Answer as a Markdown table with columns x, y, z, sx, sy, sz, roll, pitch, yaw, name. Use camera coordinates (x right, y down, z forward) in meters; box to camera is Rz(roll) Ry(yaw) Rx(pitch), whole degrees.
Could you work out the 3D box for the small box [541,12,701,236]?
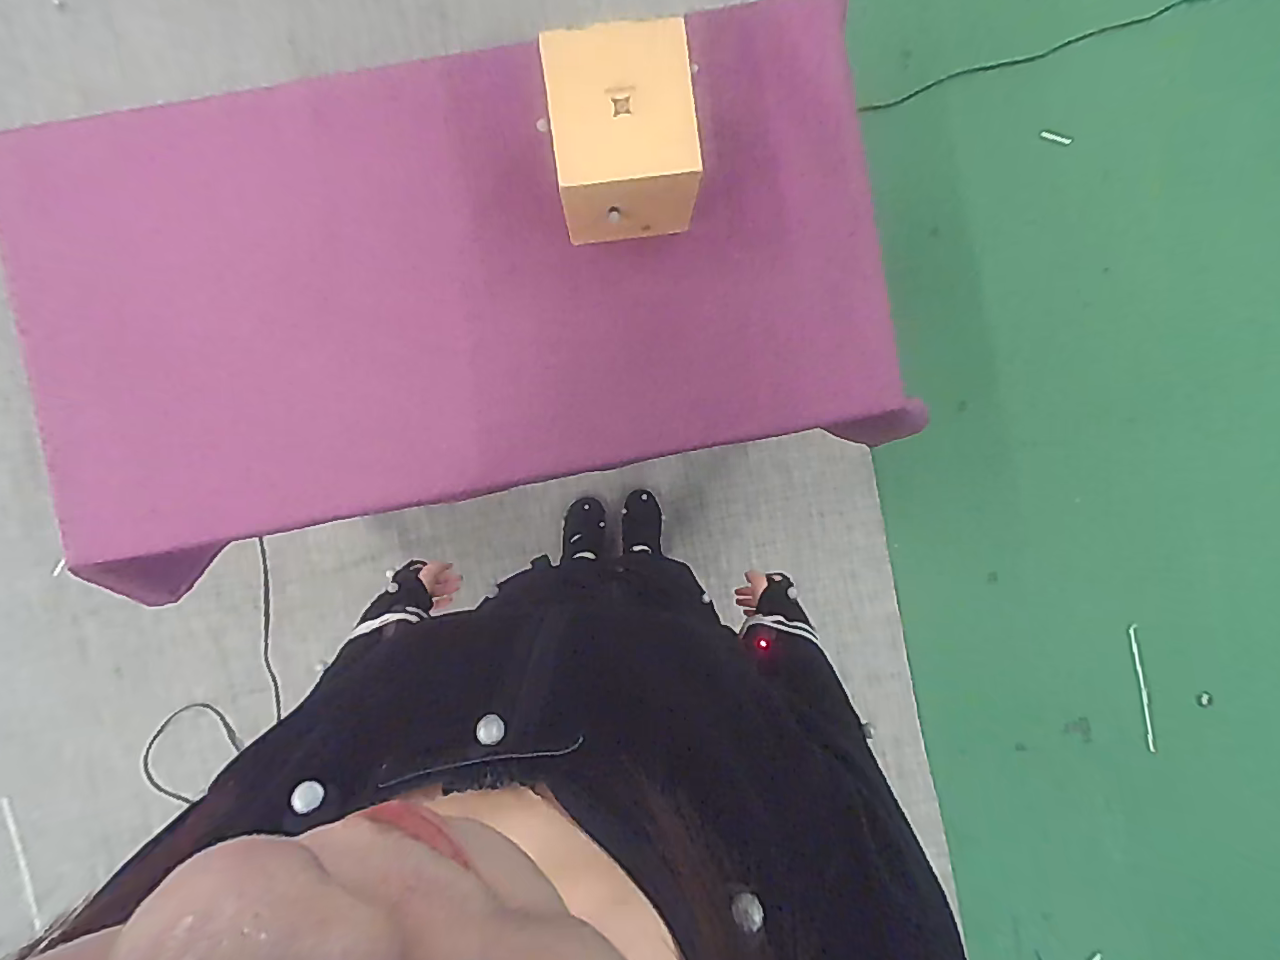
| x | y | z | sx | sy | sz | roll | pitch | yaw | name |
| --- | --- | --- | --- | --- | --- | --- | --- | --- | --- |
| -0.021 | -0.428 | 0.683 | 0.168 | 0.176 | 0.179 | -7 | 91 | -1 | small box |
